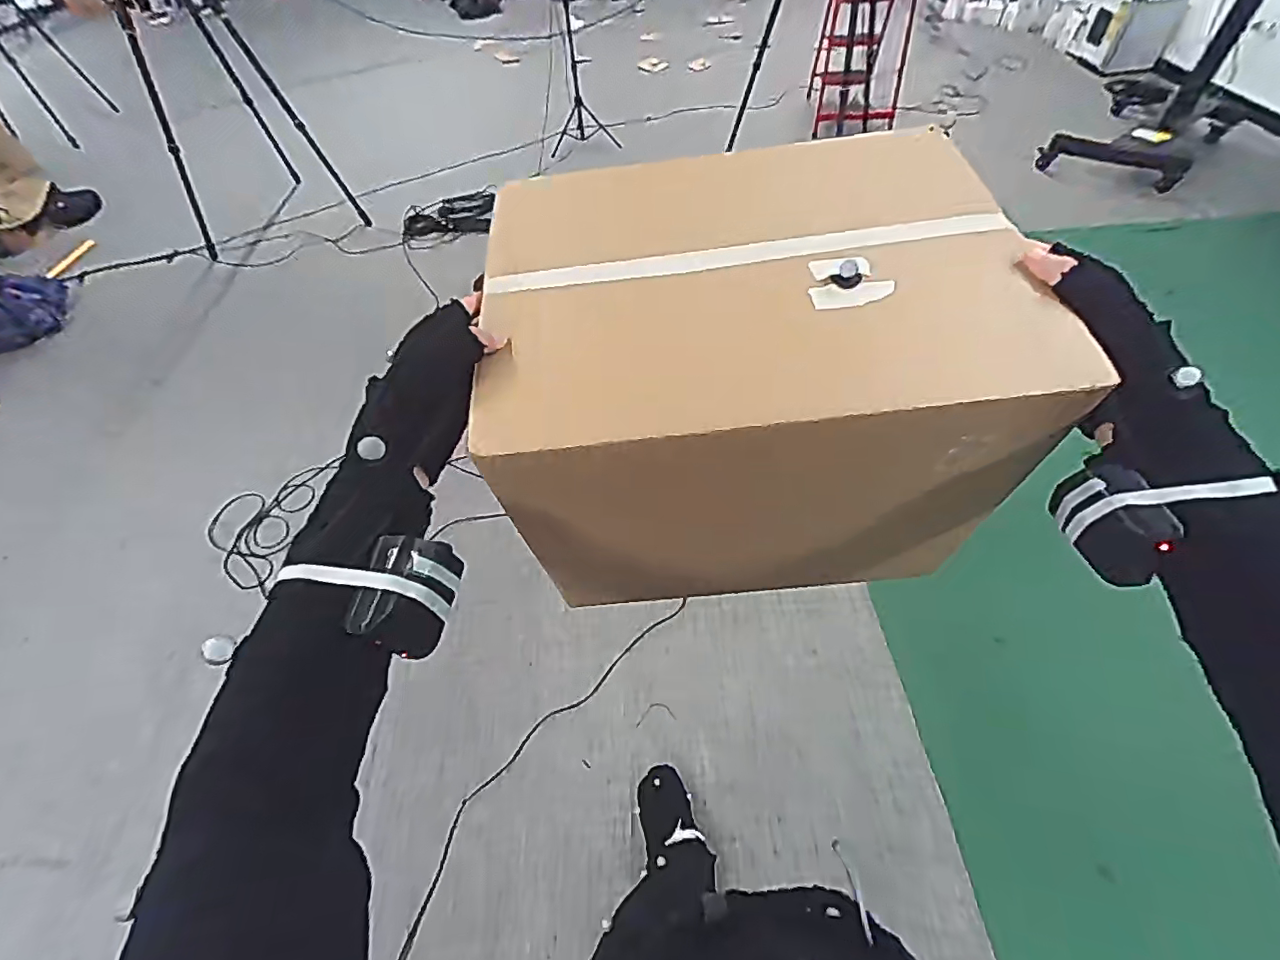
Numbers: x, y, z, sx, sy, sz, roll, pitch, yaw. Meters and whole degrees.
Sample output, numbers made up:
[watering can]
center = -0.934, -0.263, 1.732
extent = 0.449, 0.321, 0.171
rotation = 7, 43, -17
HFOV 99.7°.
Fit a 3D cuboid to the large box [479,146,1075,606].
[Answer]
[large box]
center = 0.086, -0.084, 0.558
extent = 0.408, 0.320, 0.320
rotation = -6, 59, 2
